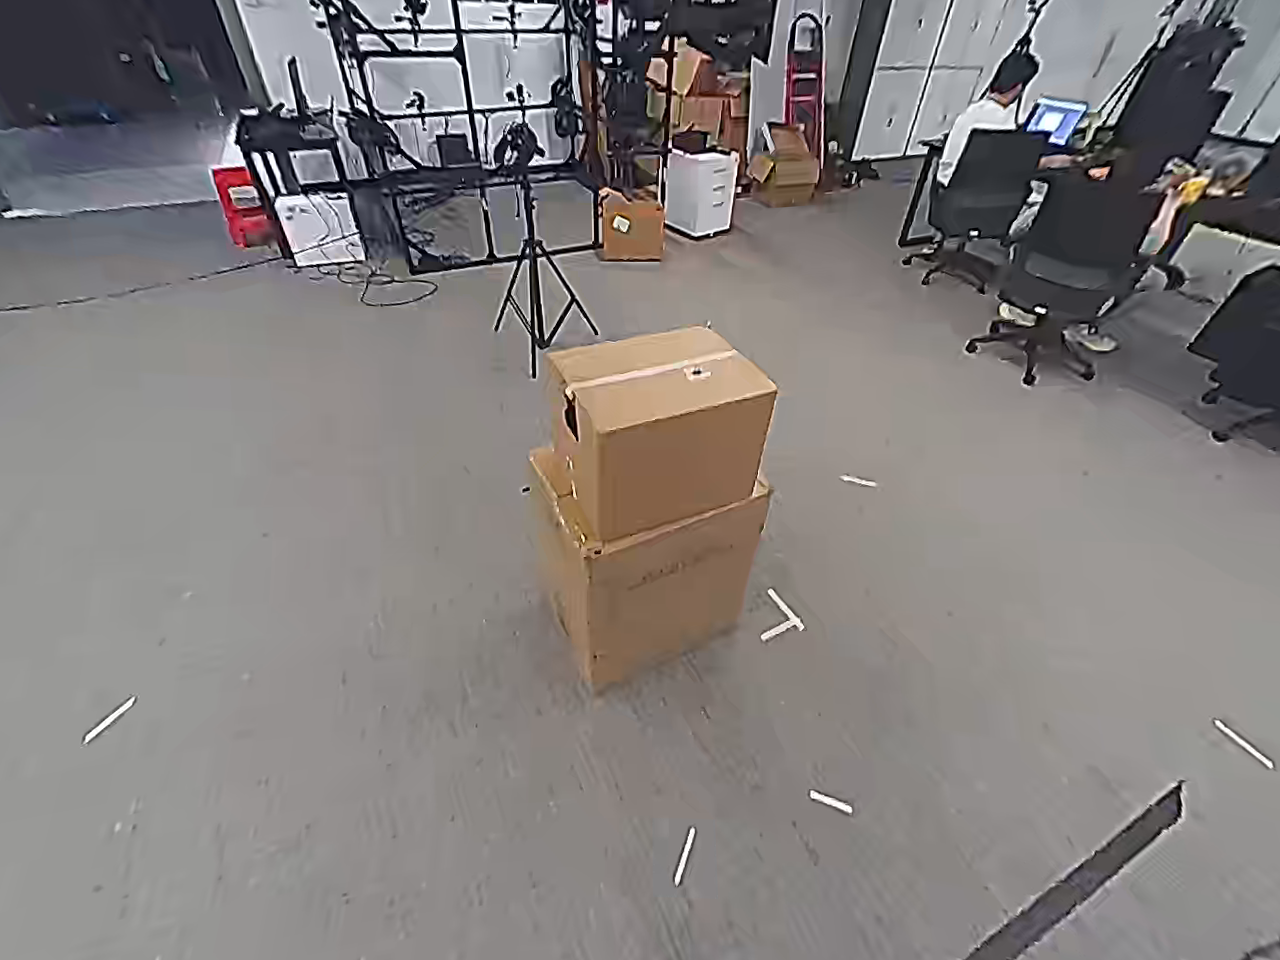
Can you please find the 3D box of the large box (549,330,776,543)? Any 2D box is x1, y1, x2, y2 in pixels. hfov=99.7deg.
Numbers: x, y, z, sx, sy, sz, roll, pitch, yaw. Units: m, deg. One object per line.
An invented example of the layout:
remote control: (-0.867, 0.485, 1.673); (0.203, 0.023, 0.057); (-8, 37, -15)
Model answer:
large box: (0.036, -0.111, 1.245); (0.408, 0.320, 0.320); (-15, 46, -20)
